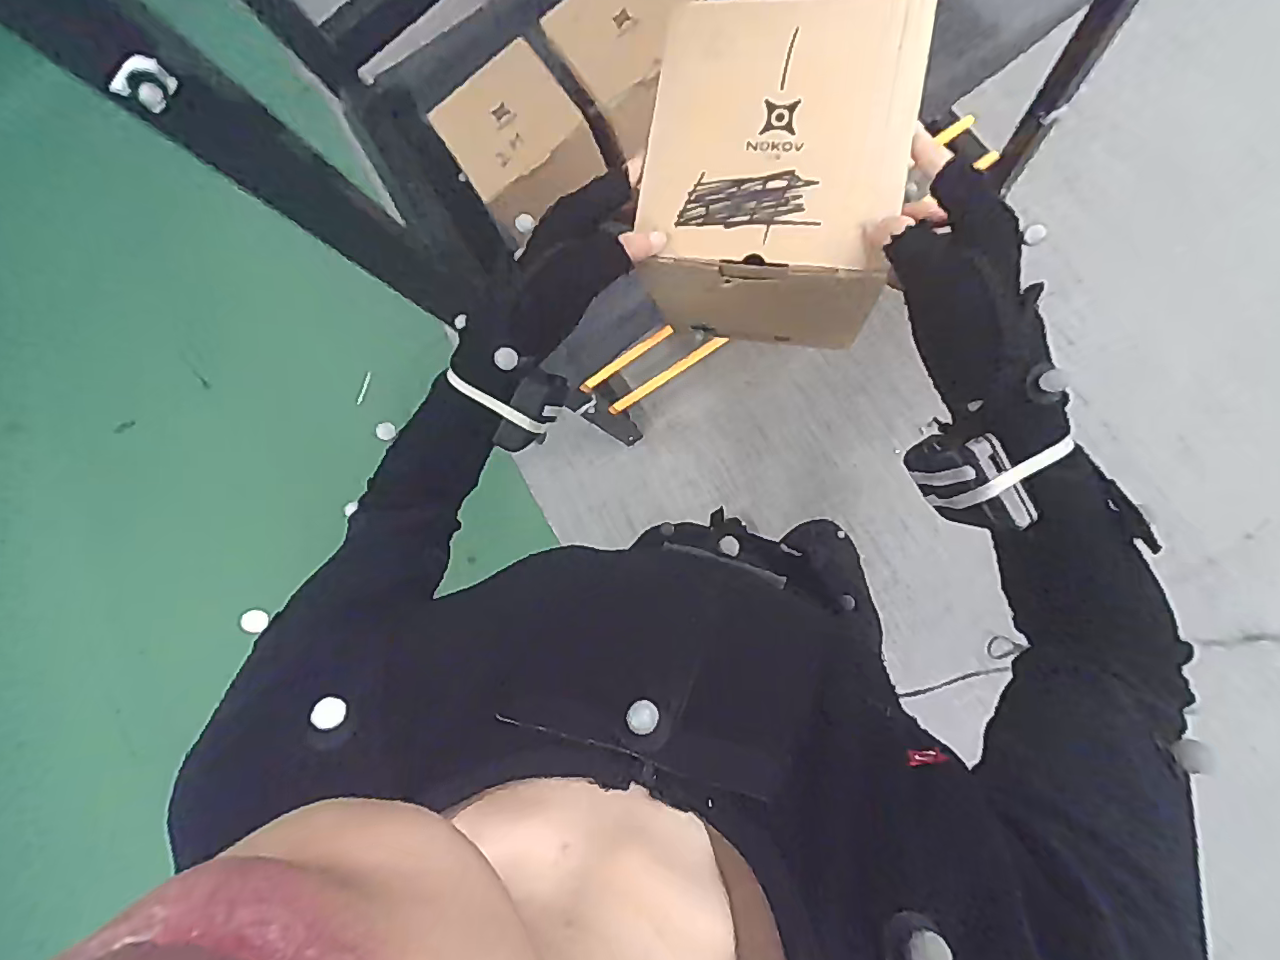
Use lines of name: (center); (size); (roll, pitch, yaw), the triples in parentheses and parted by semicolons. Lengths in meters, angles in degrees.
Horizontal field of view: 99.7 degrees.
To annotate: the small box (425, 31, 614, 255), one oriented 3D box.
small box: (-0.164, -0.469, 0.780); (0.168, 0.176, 0.179); (-35, 77, 8)
